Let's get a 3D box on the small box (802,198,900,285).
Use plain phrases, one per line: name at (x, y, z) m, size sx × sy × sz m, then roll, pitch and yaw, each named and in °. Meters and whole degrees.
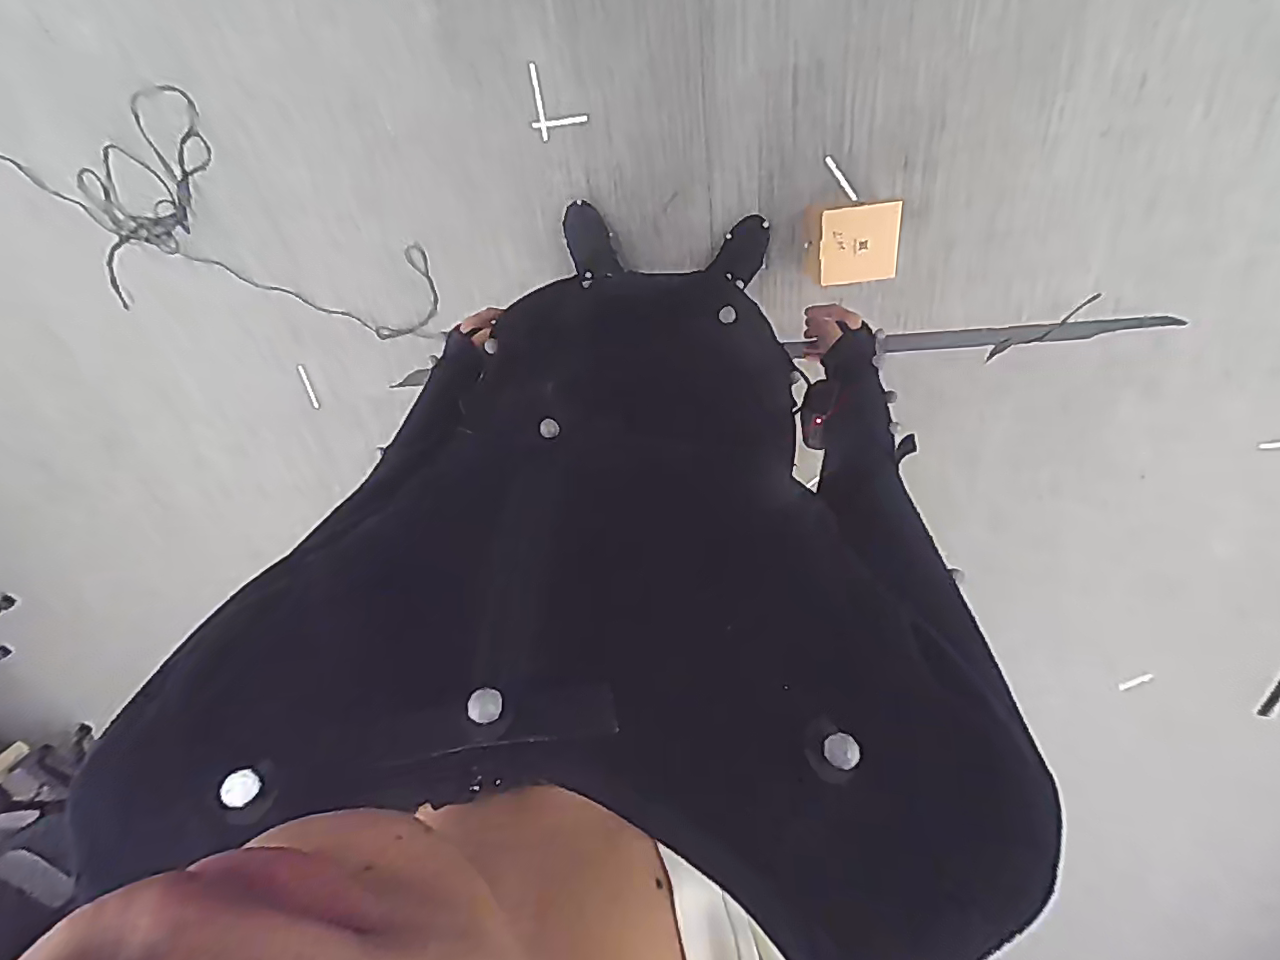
small box at (0.503, -0.581, 1.312) m, size 0.179 × 0.176 × 0.168 m, roll -4°, pitch 120°, yaw 7°
